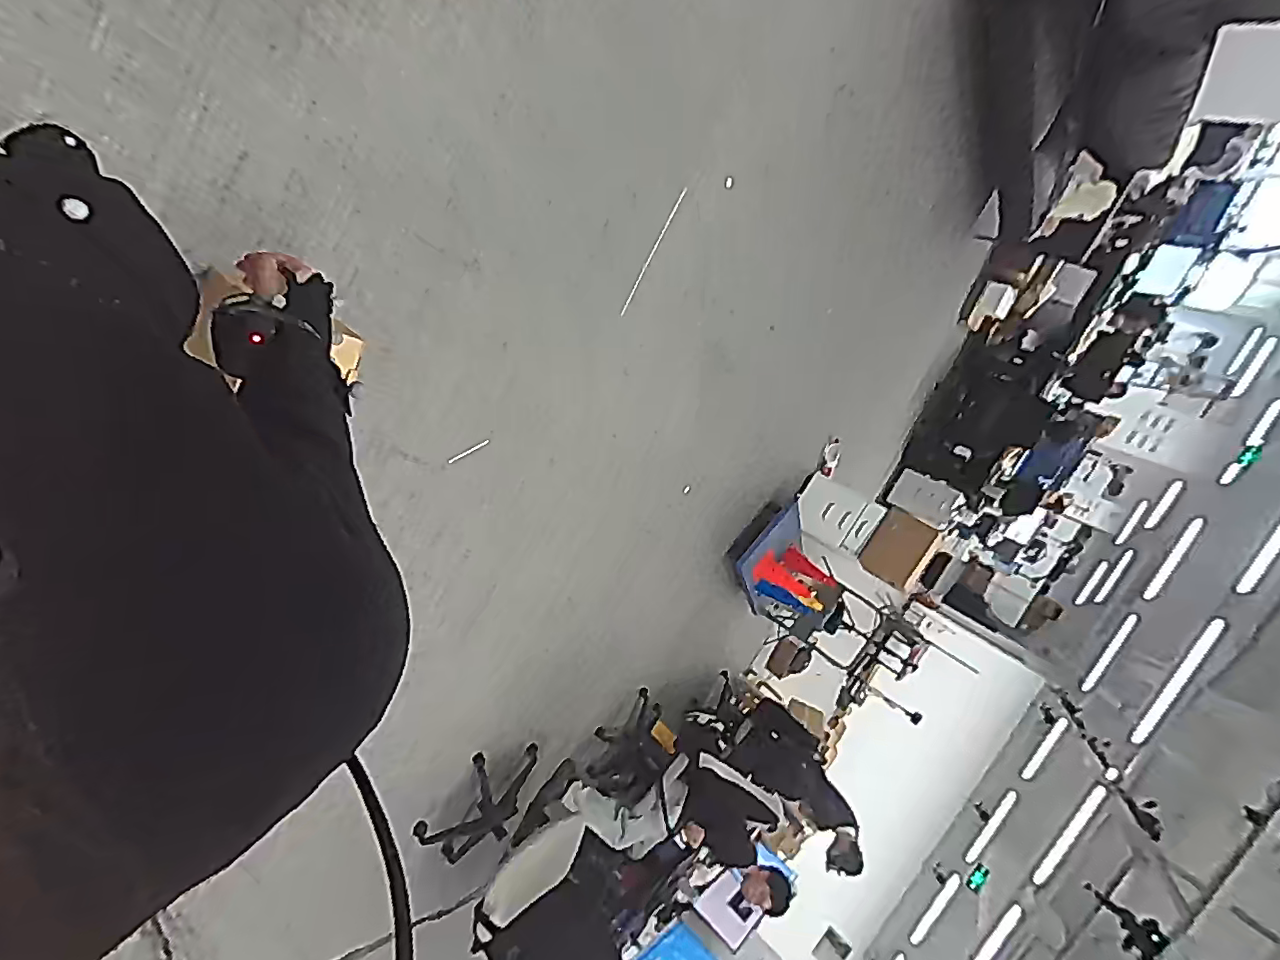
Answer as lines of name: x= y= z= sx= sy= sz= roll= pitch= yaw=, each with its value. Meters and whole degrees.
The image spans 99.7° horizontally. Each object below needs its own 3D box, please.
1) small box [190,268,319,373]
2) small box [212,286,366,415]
small box: x=-0.776 y=-0.305 z=1.096 sx=0.168 sy=0.176 sz=0.179 roll=12 pitch=106 yaw=-54
small box: x=-0.654 y=-0.241 z=1.007 sx=0.179 sy=0.176 sz=0.168 roll=12 pitch=106 yaw=-53
